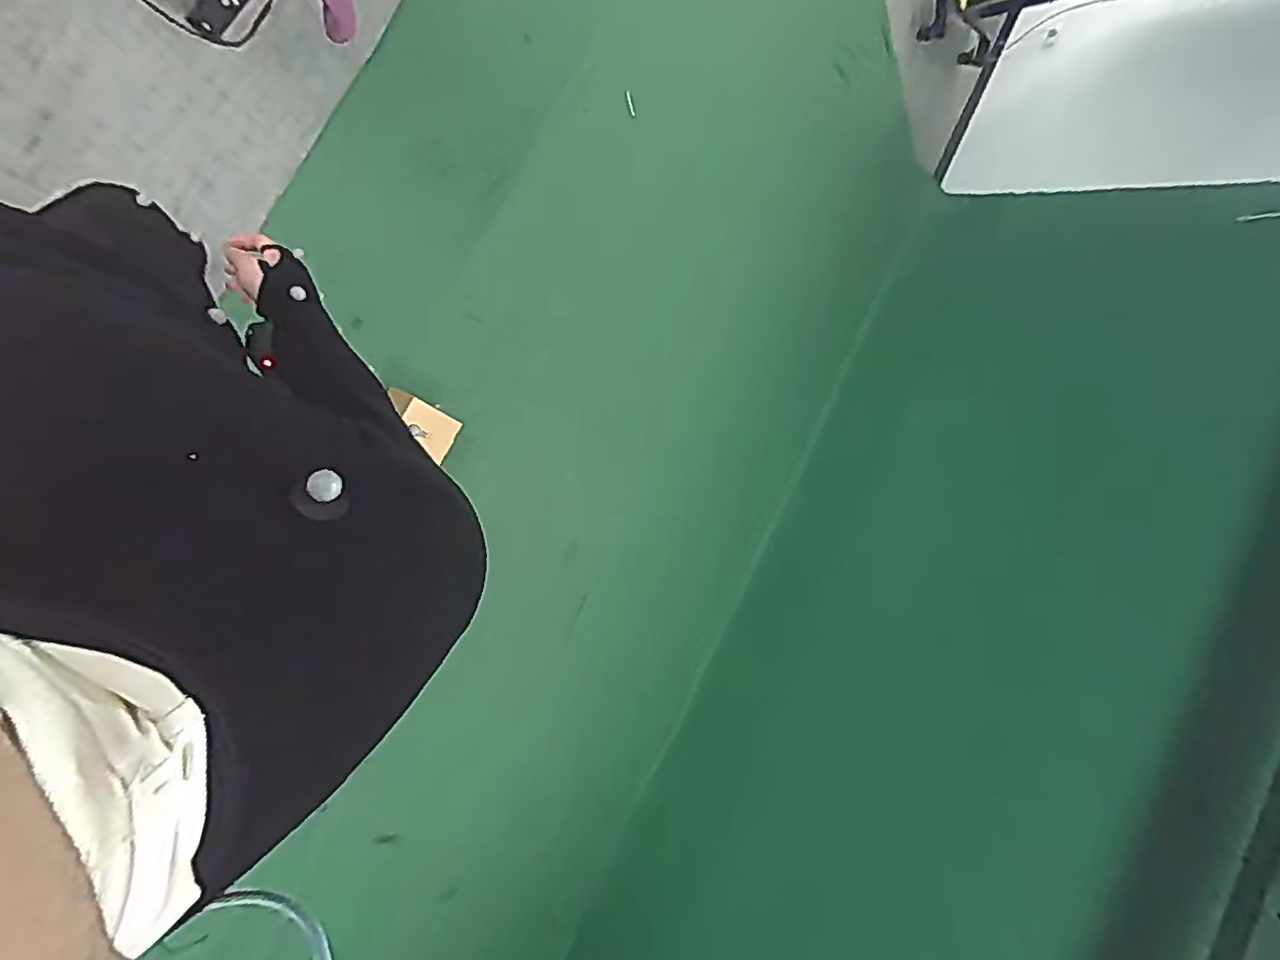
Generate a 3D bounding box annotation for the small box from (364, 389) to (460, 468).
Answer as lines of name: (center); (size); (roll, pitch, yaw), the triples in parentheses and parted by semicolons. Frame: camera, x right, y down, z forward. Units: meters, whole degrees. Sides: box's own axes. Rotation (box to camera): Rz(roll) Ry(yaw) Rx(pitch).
small box: (-0.681, -0.158, 1.609); (0.179, 0.176, 0.168); (34, 80, -51)
